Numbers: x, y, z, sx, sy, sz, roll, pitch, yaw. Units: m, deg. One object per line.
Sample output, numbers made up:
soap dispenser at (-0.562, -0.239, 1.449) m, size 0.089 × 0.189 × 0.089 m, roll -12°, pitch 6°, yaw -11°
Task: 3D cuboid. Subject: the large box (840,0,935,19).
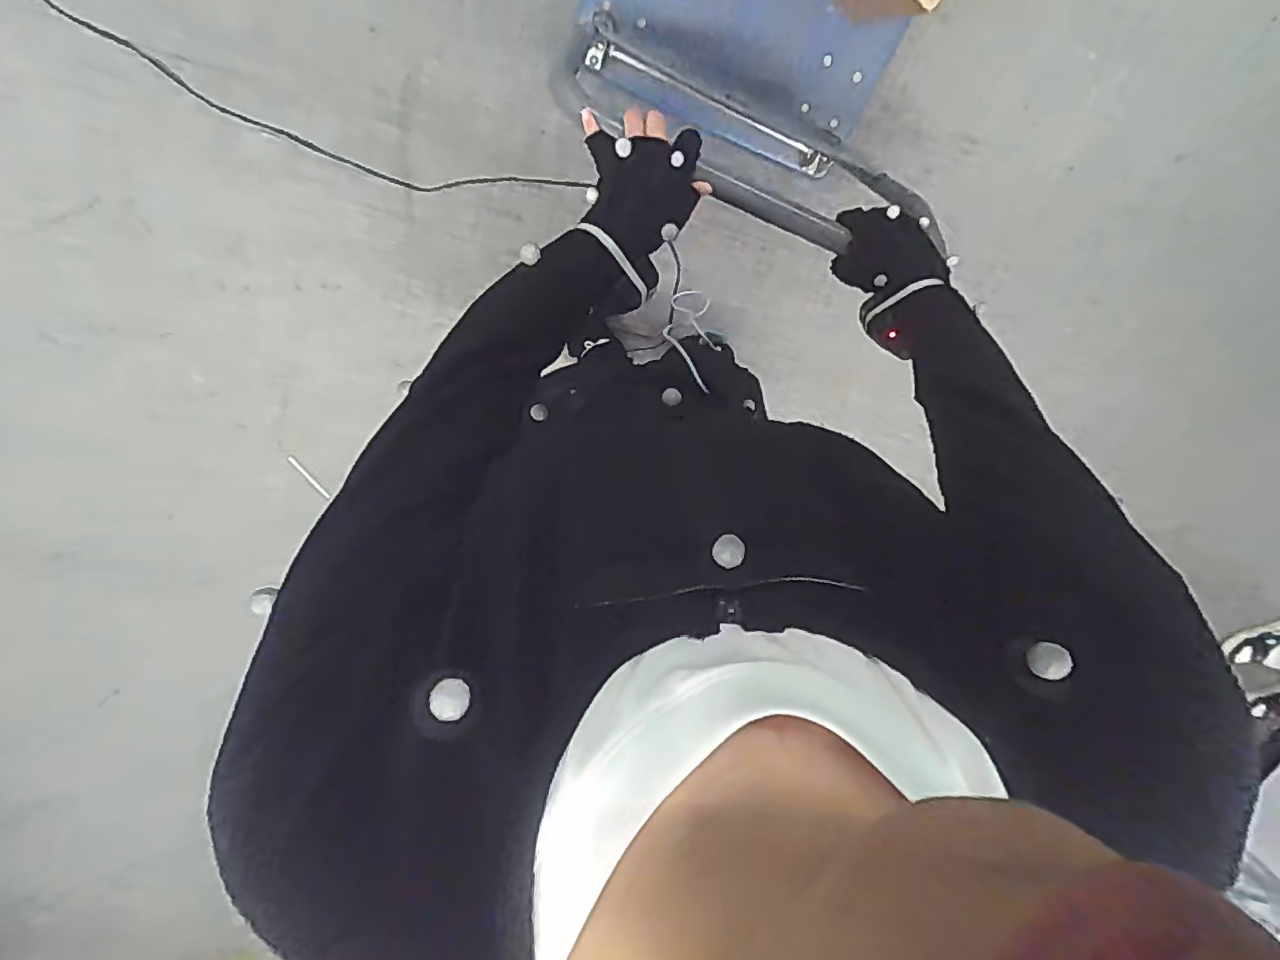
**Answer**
large box at (0.325, -0.938, 0.741) m, size 0.408 × 0.320 × 0.320 m, roll 28°, pitch 123°, yaw -19°
